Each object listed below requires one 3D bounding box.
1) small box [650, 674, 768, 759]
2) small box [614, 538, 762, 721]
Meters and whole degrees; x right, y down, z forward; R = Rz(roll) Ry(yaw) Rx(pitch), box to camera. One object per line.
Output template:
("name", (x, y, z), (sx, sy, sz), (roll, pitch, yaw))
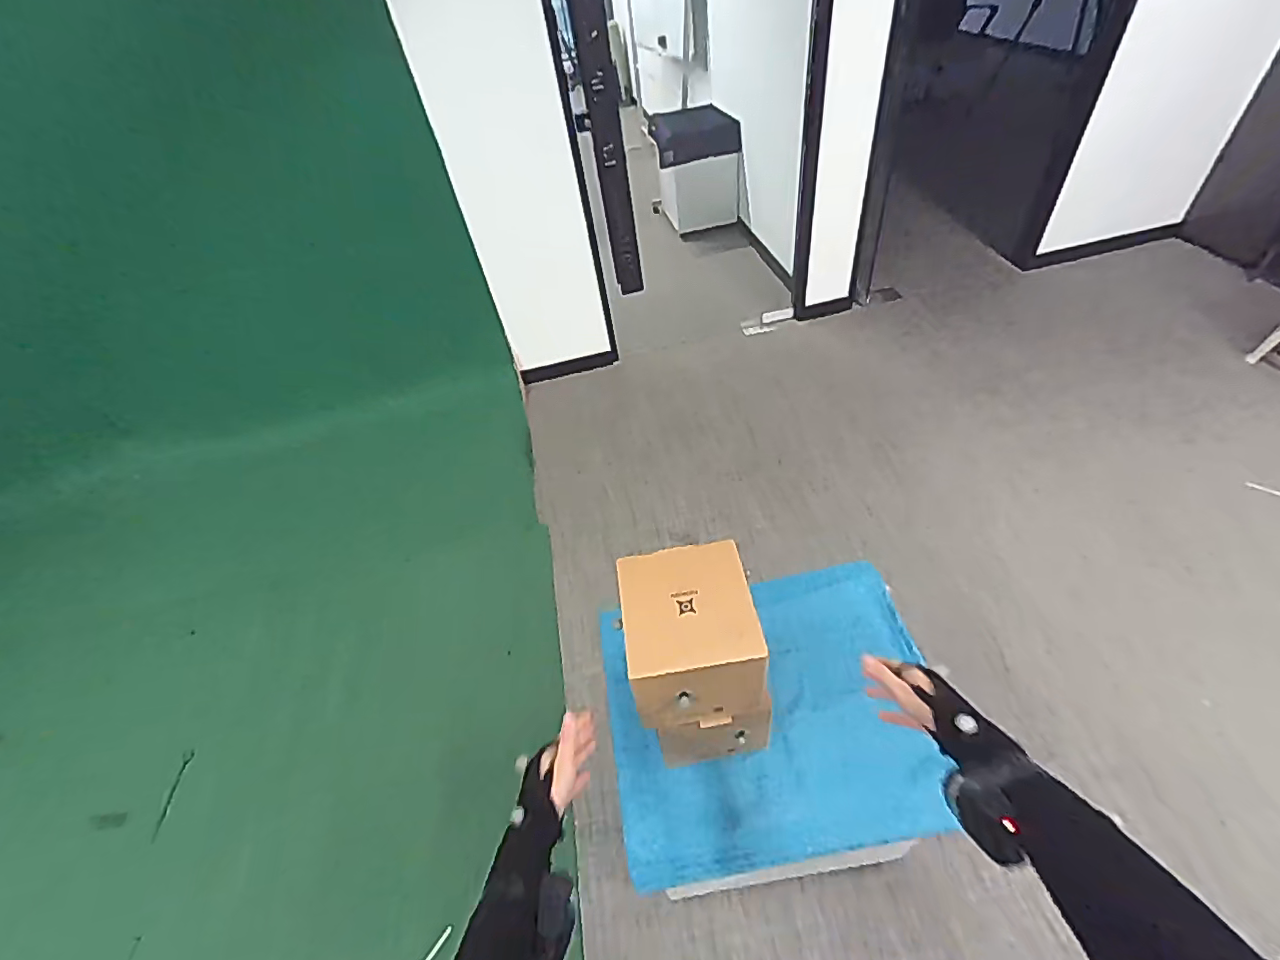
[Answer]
("small box", (0.095, 0.316, 0.844), (0.168, 0.176, 0.179), (-10, 45, -1))
("small box", (0.063, 0.207, 0.728), (0.168, 0.176, 0.179), (-9, 44, 0))
